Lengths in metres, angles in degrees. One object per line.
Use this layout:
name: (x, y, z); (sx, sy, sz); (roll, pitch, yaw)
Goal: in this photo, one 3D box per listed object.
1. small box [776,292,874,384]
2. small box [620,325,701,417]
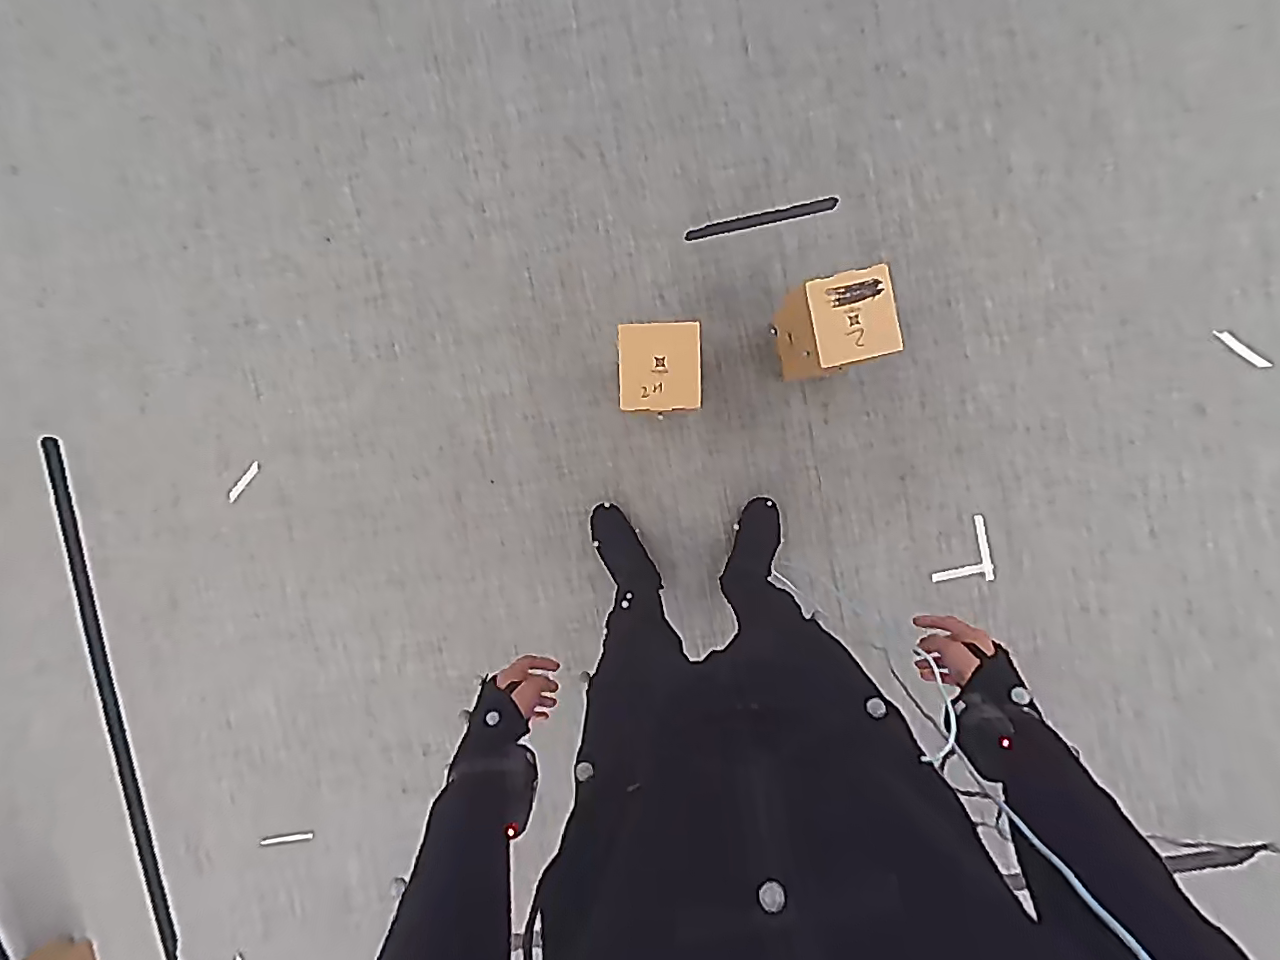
small box: (0.437, -0.334, 1.311); (0.179, 0.176, 0.168); (-12, 94, 2)
small box: (0.045, -0.229, 1.171); (0.168, 0.176, 0.179); (-1, 94, 4)
